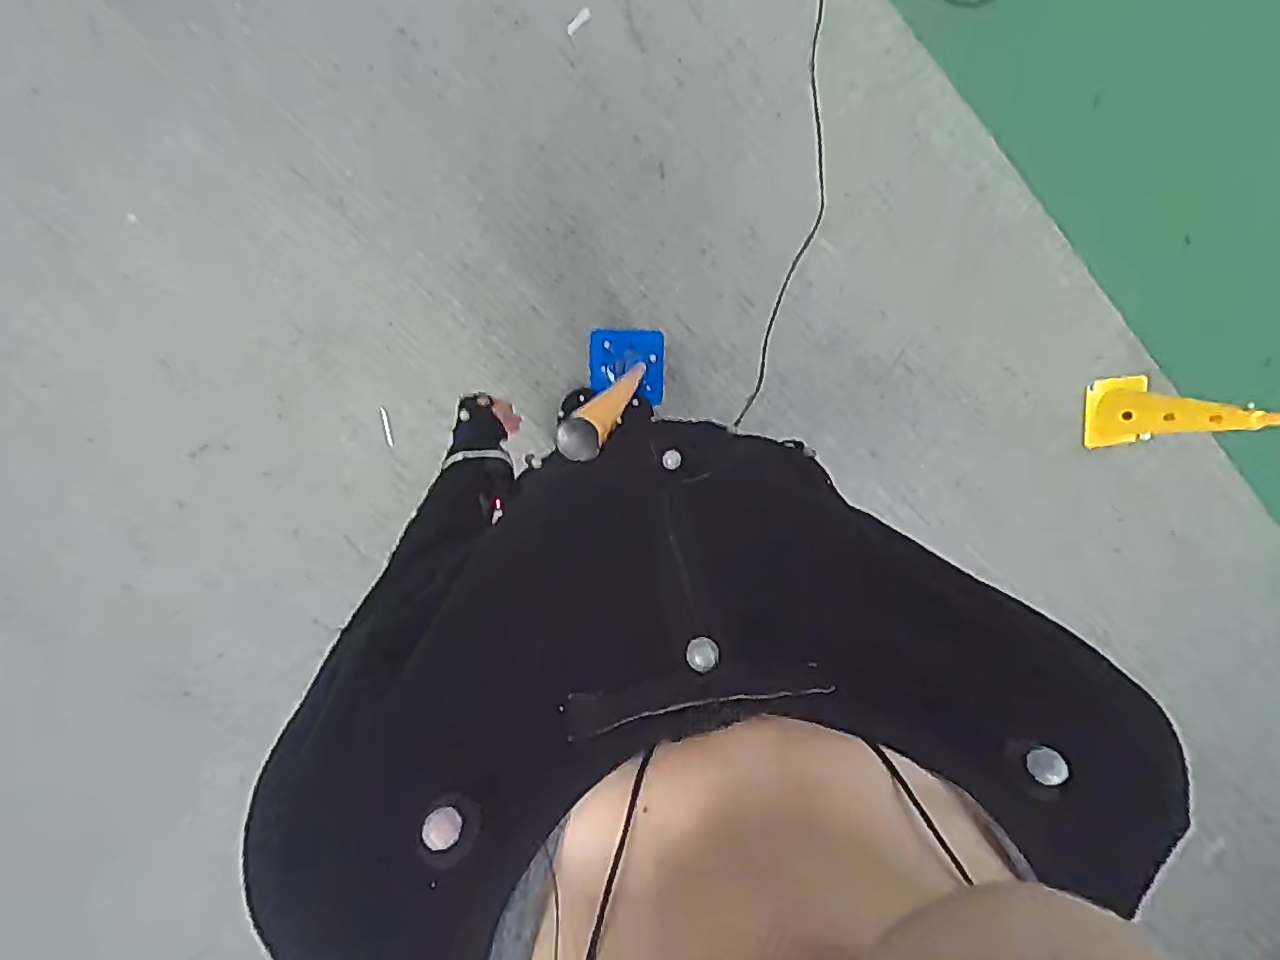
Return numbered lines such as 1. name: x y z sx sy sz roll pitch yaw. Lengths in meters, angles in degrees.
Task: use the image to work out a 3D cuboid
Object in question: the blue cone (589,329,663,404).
1. blue cone: -0.020 -0.264 1.260 0.193 0.380 0.192 -2 102 -5
